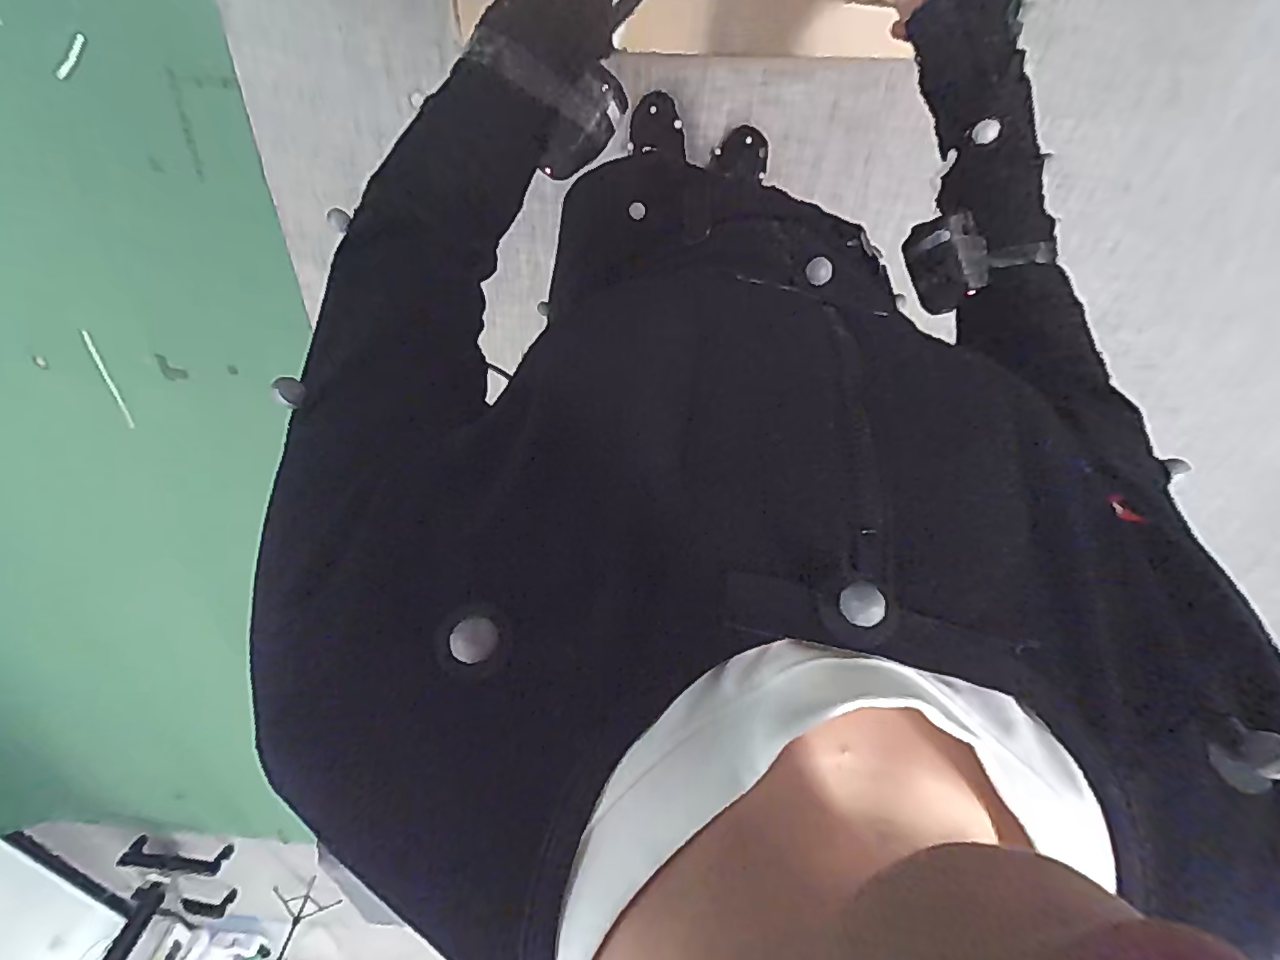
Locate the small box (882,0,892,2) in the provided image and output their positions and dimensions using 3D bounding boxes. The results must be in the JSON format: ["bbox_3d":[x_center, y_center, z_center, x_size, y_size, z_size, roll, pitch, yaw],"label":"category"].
[{"bbox_3d":[0.159,-0.509,0.417,0.179,0.176,0.168,20,130,-13],"label":"small box"}]

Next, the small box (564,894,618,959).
[{"bbox_3d":[-0.166,1.545,1.847,0.168,0.176,0.179,3,127,1],"label":"small box"}]
